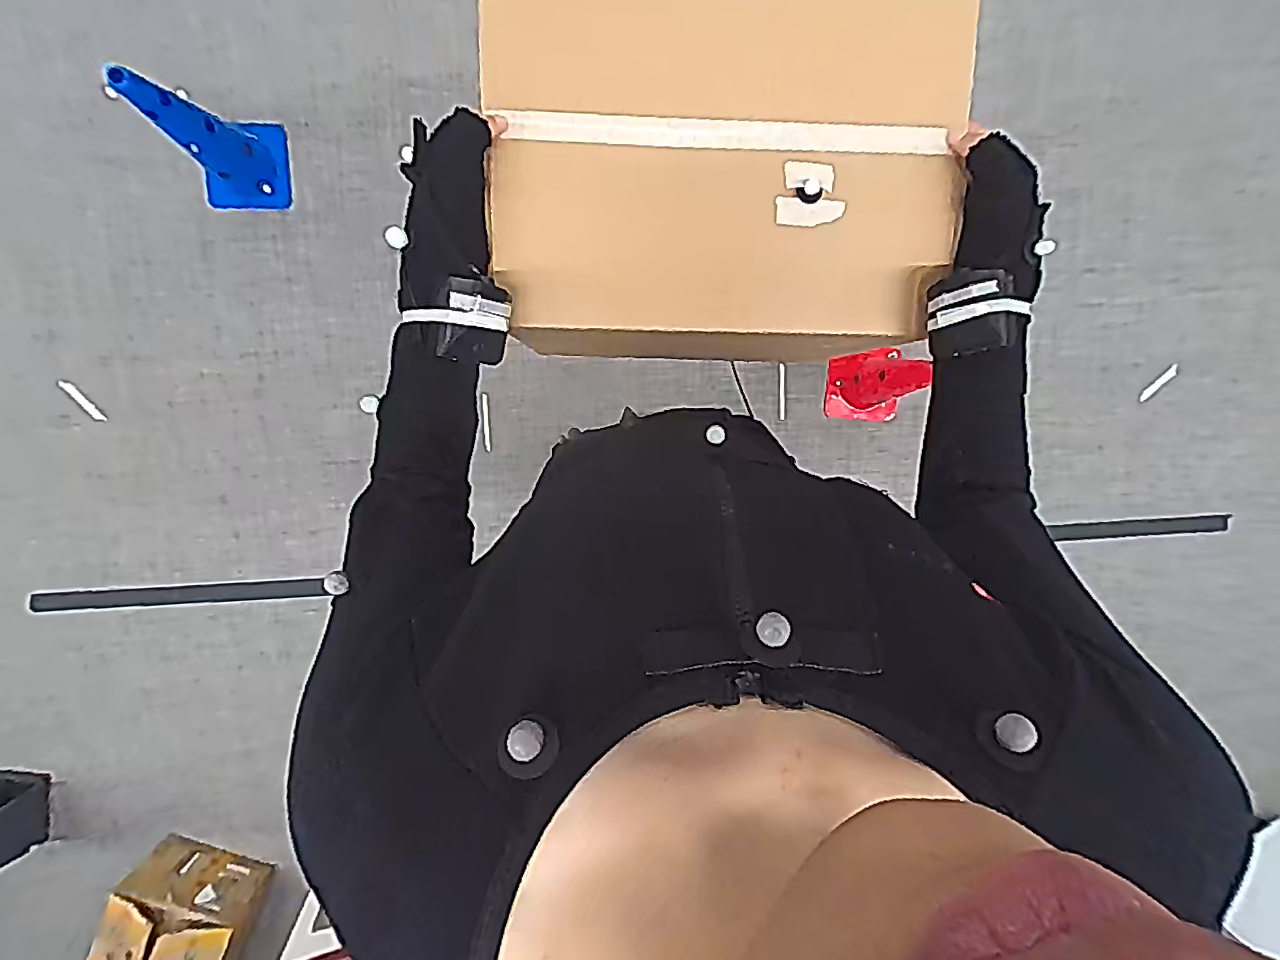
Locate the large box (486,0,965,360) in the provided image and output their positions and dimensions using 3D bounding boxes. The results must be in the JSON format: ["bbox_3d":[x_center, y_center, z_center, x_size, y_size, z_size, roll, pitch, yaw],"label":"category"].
[{"bbox_3d":[0.064,-0.305,0.602,0.408,0.320,0.320,0,98,-4],"label":"large box"}]

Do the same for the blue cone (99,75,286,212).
[{"bbox_3d":[-0.971,-0.747,1.176,0.192,0.380,0.193,1,96,-2],"label":"blue cone"}]

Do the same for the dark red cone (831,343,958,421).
[{"bbox_3d":[0.619,-0.245,1.282,0.201,0.394,0.202,3,96,-2],"label":"dark red cone"}]
